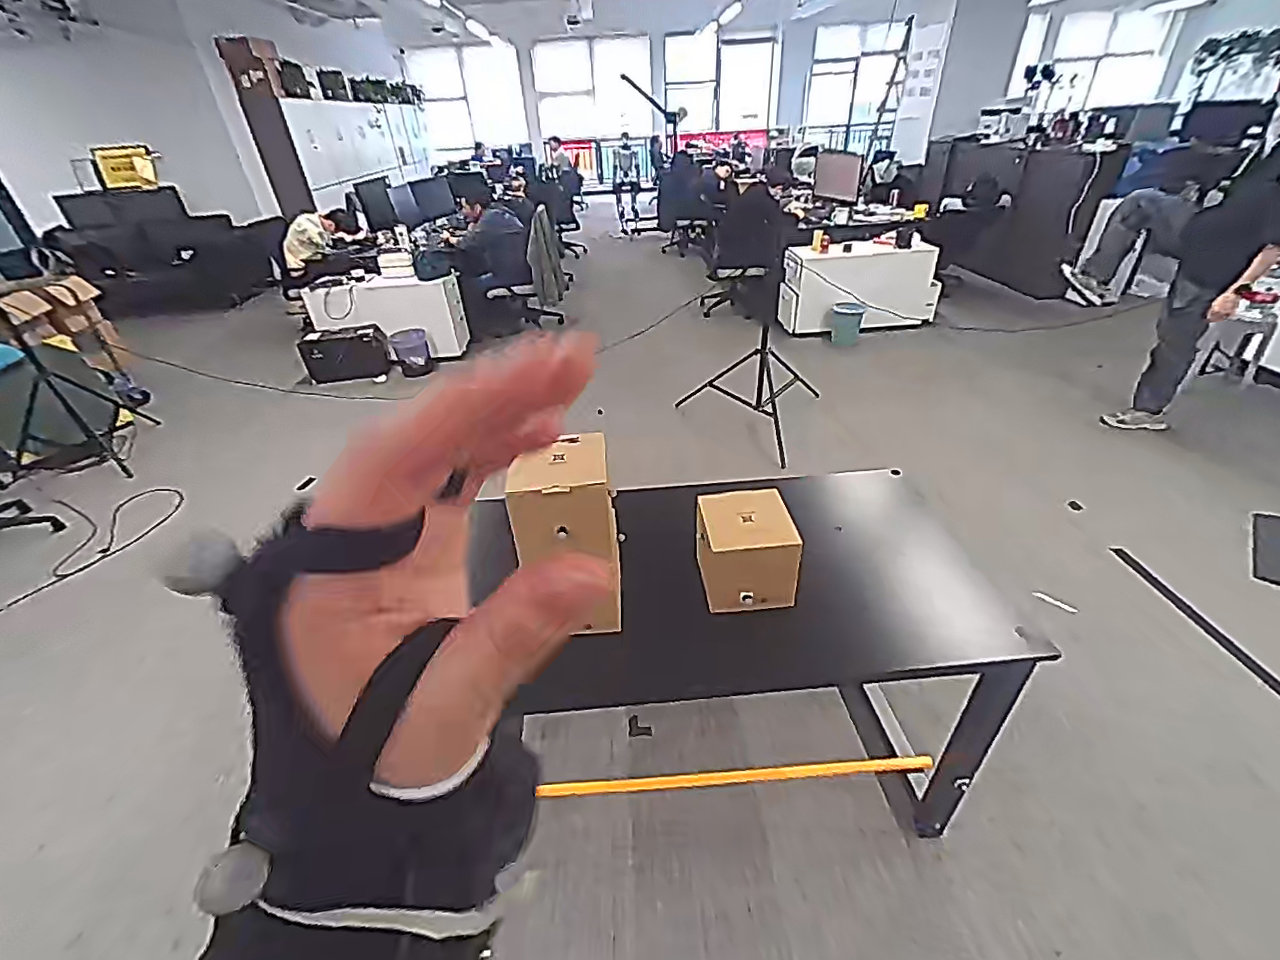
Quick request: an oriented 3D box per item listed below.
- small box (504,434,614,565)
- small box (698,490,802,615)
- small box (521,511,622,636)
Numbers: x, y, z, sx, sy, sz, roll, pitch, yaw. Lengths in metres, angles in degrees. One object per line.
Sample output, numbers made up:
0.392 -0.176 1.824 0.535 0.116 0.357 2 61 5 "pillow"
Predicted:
-0.136 0.039 0.970 0.168 0.176 0.179 -5 34 -2 "small box"
0.209 0.143 1.082 0.168 0.176 0.179 -6 35 -2 "small box"
-0.125 0.179 1.054 0.168 0.176 0.179 -4 34 0 "small box"
